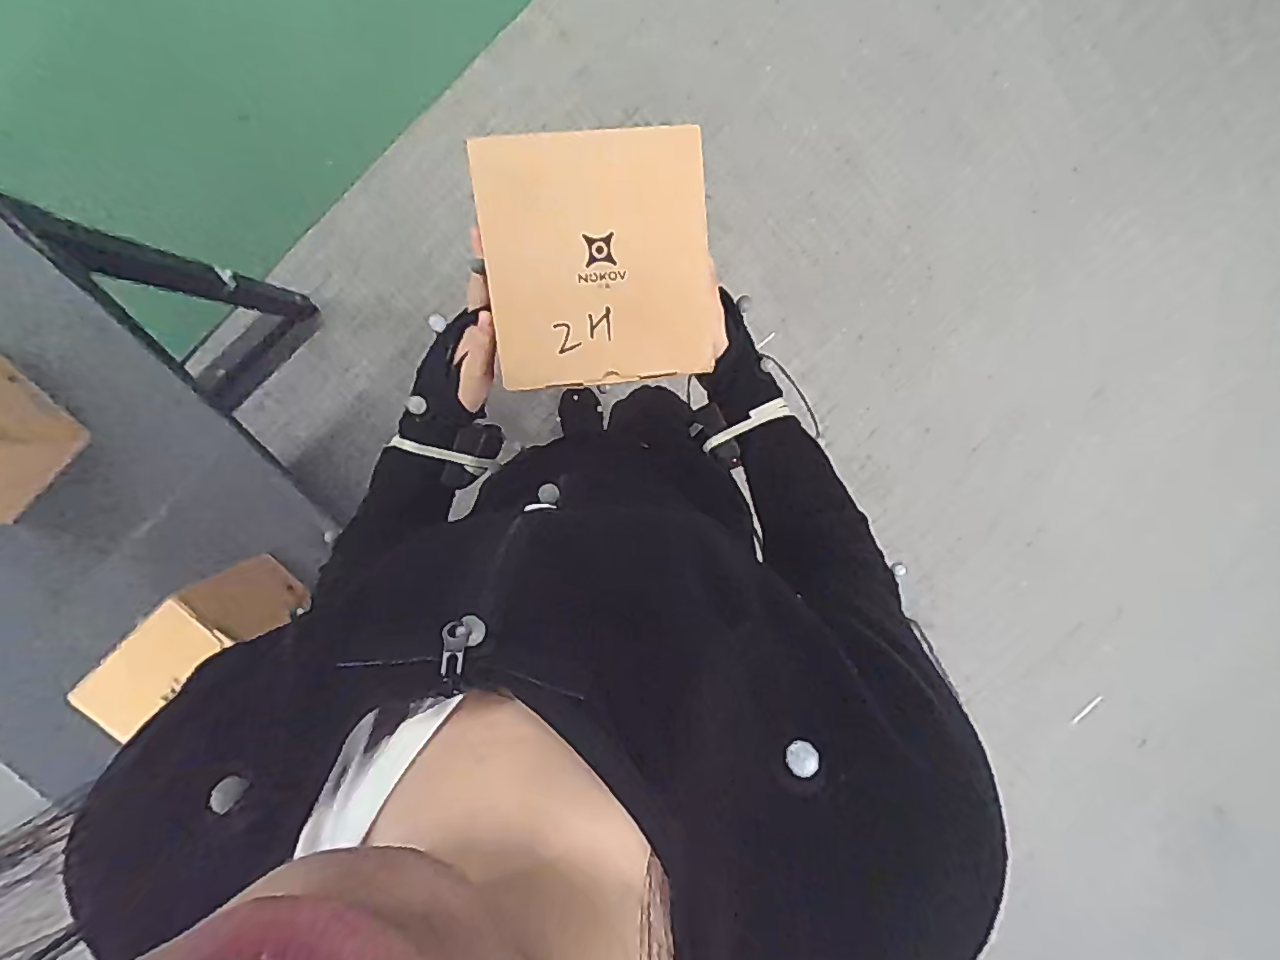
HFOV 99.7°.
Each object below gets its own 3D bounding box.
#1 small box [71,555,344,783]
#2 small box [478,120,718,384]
[{"bbox_3d":[-0.525,0.225,0.687,0.179,0.176,0.168,-43,99,4],"label":"small box"},{"bbox_3d":[-0.036,-0.180,0.471,0.168,0.176,0.179,-6,104,-6],"label":"small box"}]
